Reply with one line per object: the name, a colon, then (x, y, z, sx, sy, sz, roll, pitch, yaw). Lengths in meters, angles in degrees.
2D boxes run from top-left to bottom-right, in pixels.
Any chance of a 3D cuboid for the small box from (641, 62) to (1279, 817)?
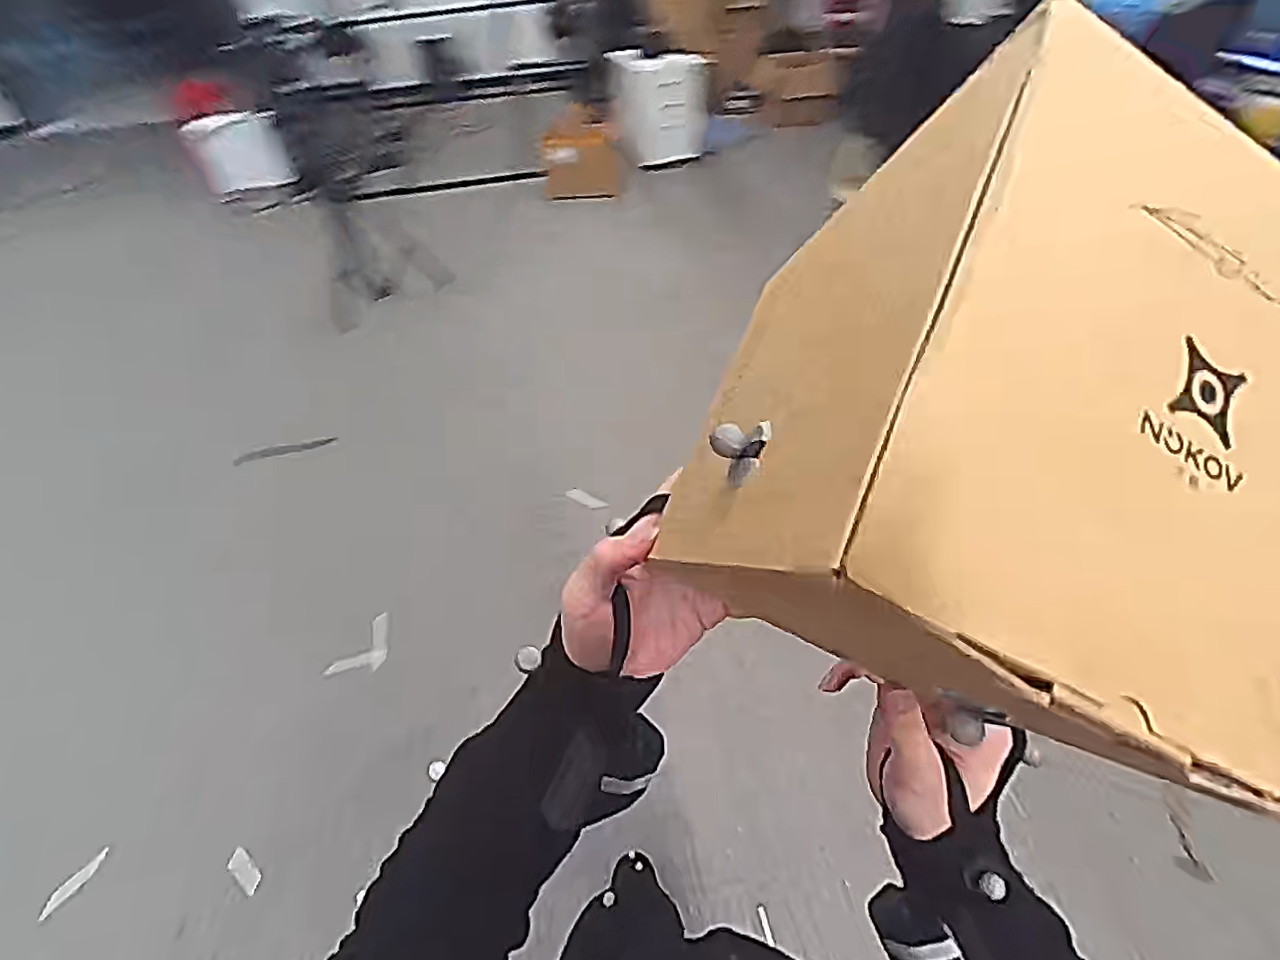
small box: (0.114, -0.005, 0.235, 0.168, 0.176, 0.179, 26, 77, -10)
